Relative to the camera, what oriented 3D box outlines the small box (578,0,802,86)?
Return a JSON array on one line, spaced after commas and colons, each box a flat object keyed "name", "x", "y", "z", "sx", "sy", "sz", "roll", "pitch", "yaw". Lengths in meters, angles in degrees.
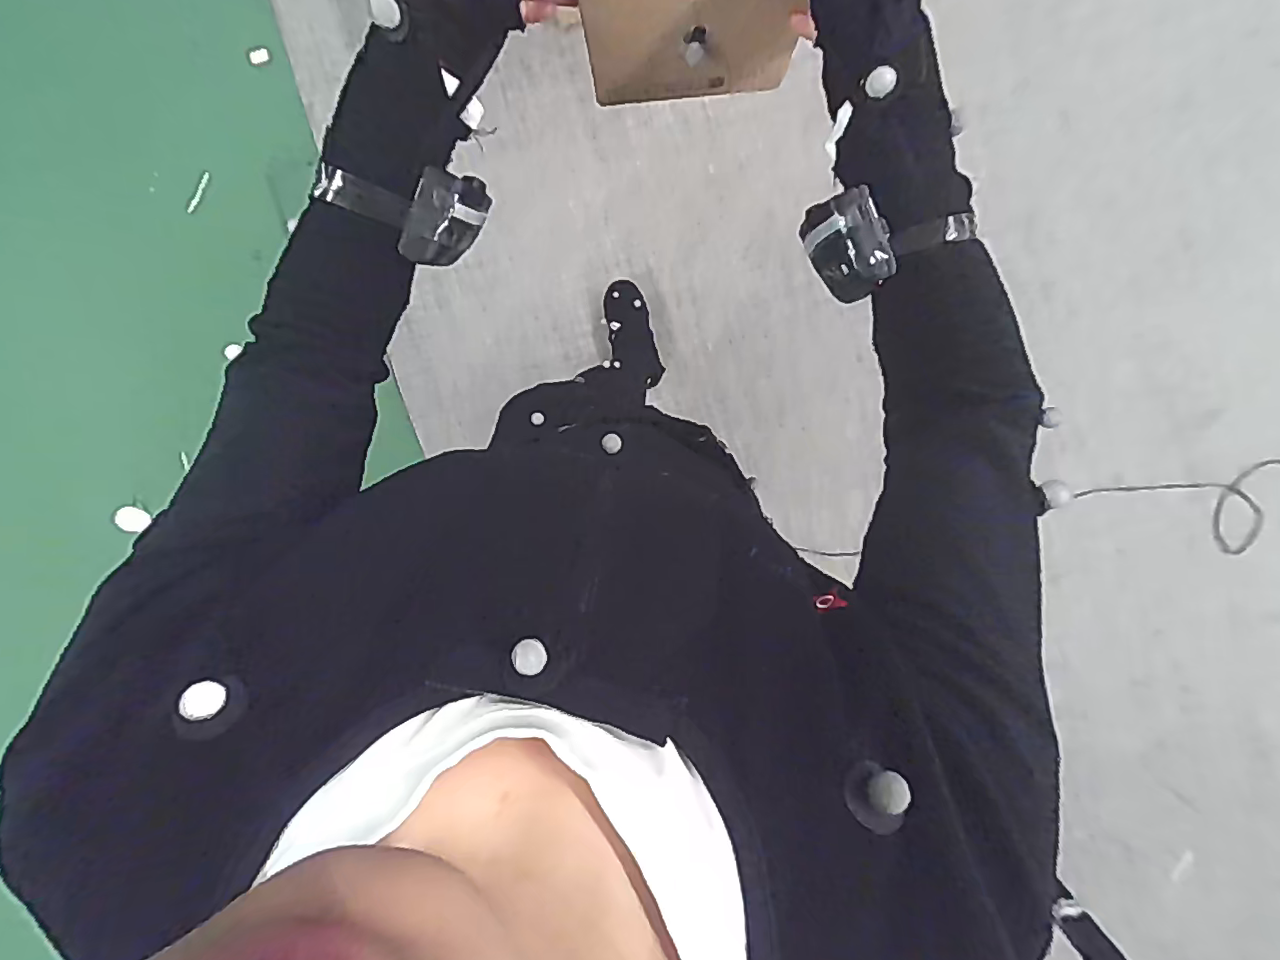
[{"name": "small box", "x": 0.034, "y": -0.420, "z": 0.389, "sx": 0.168, "sy": 0.176, "sz": 0.179, "roll": -4, "pitch": 97, "yaw": 3}]
